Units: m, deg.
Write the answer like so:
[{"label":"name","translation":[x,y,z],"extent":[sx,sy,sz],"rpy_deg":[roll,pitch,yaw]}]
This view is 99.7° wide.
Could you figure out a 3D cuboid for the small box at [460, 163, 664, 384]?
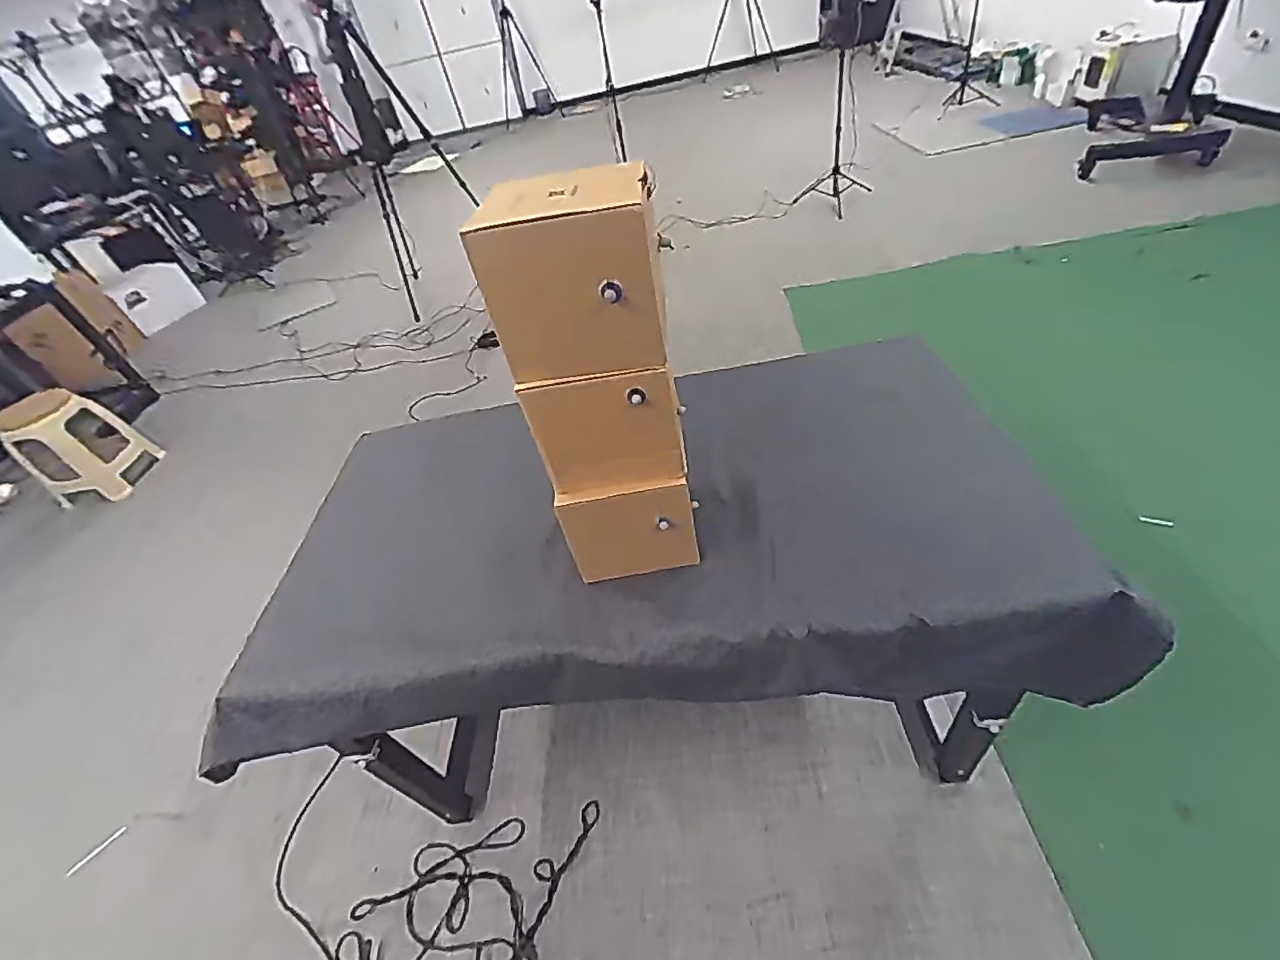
[{"label":"small box","translation":[-0.067,-0.225,0.600],"extent":[0.179,0.176,0.168],"rpy_deg":[-7,41,8]}]

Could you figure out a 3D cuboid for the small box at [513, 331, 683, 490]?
[{"label":"small box","translation":[-0.045,-0.103,0.705],"extent":[0.179,0.176,0.168],"rpy_deg":[-8,42,5]}]
